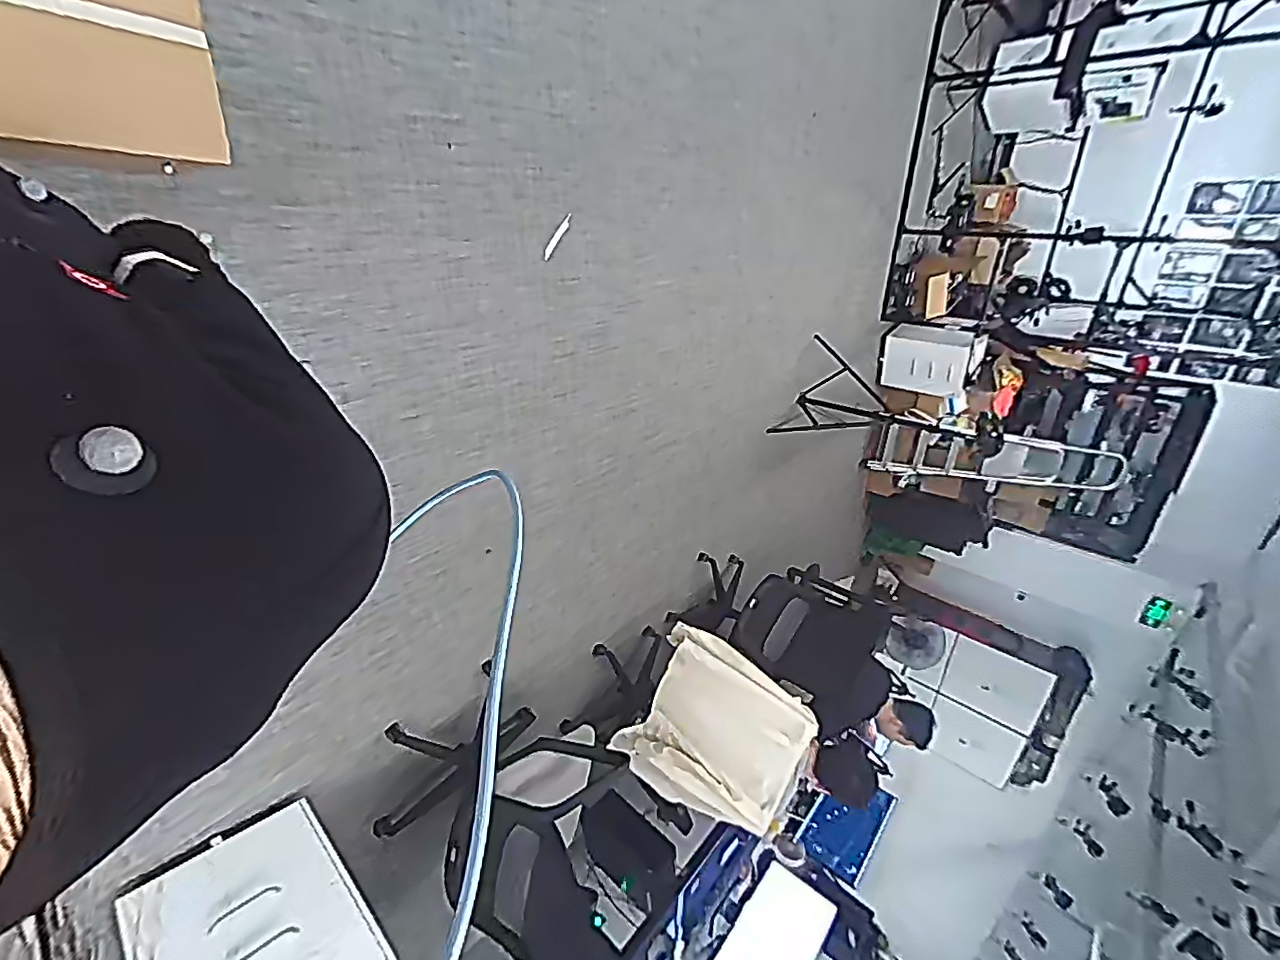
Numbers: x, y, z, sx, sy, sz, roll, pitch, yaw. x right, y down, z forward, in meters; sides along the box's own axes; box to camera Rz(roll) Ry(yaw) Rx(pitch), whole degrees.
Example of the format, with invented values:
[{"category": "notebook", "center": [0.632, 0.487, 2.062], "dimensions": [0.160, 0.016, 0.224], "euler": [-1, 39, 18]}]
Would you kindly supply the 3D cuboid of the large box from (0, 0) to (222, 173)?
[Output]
[{"category": "large box", "center": [-0.872, -0.607, 0.719], "dimensions": [0.408, 0.320, 0.320], "euler": [-22, 123, -45]}]
